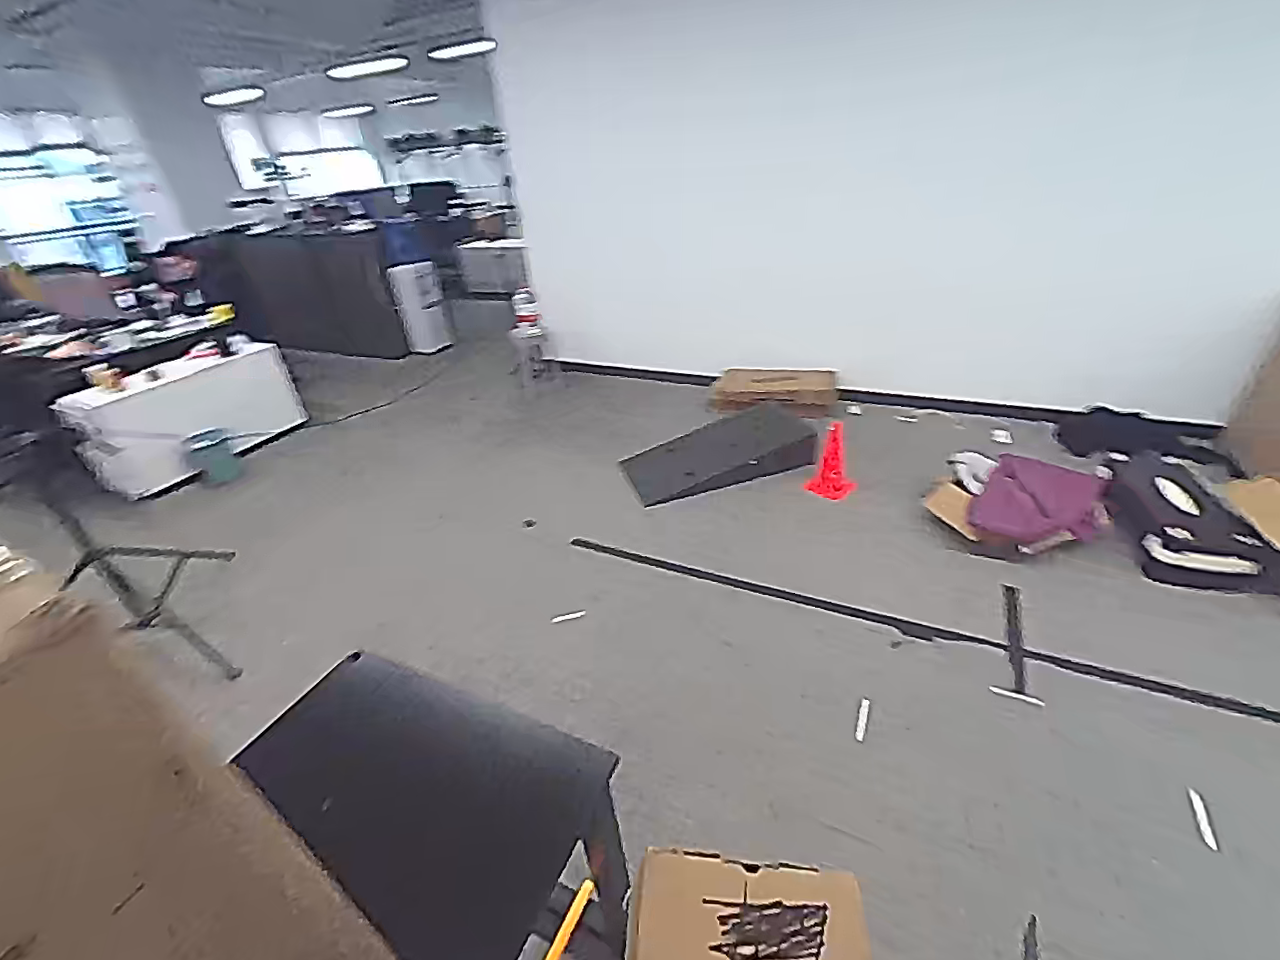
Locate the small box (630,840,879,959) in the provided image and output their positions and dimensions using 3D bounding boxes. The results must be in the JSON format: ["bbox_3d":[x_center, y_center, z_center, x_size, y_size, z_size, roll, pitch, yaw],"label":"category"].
[{"bbox_3d":[0.074,0.404,0.404,0.168,0.176,0.179,7,43,2],"label":"small box"}]
